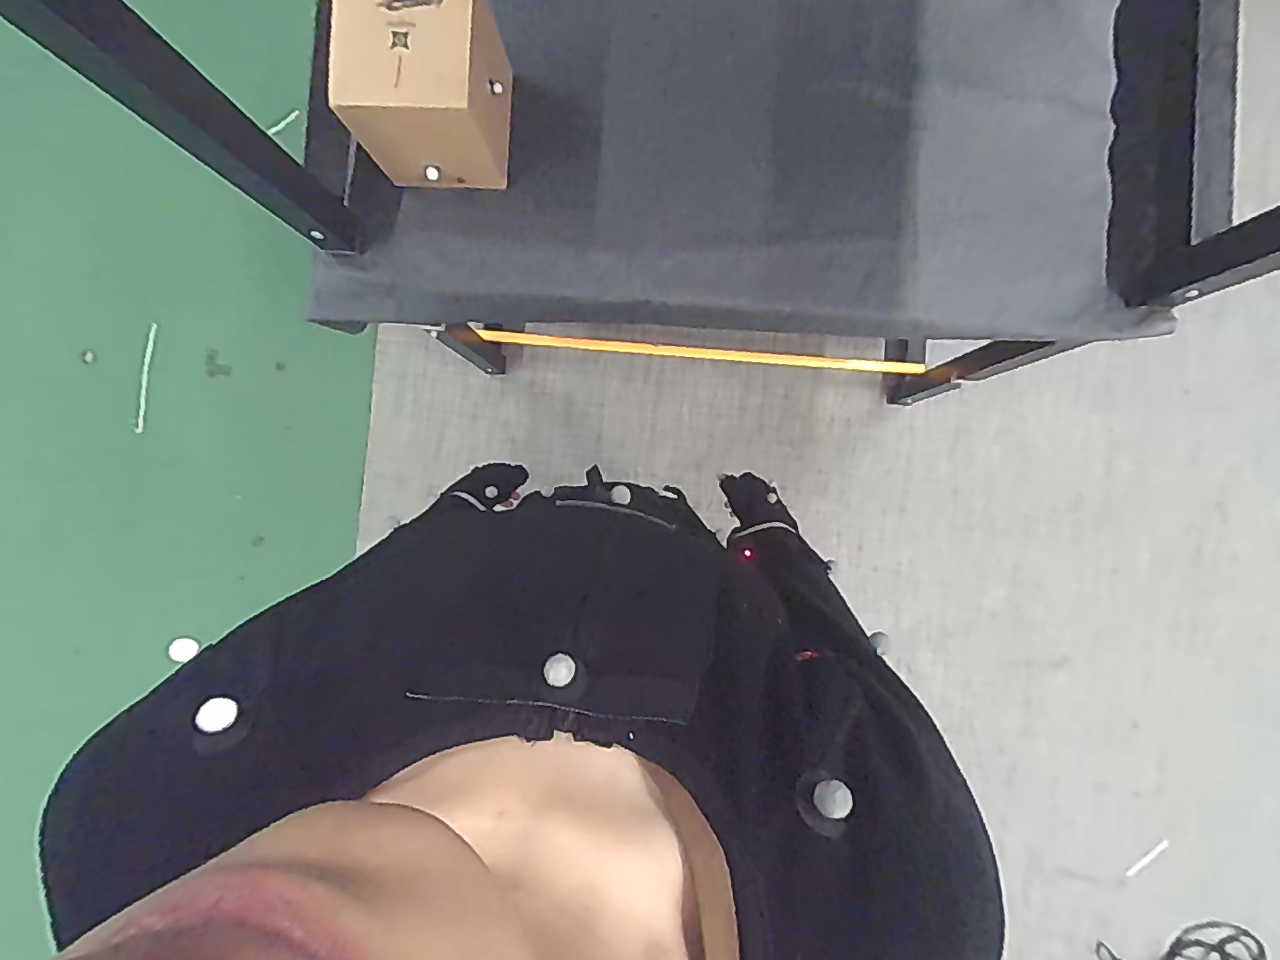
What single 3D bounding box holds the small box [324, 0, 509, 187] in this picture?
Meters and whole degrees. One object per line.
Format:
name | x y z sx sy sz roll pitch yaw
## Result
small box | -0.272 -0.513 0.695 0.168 0.176 0.179 2 89 1
